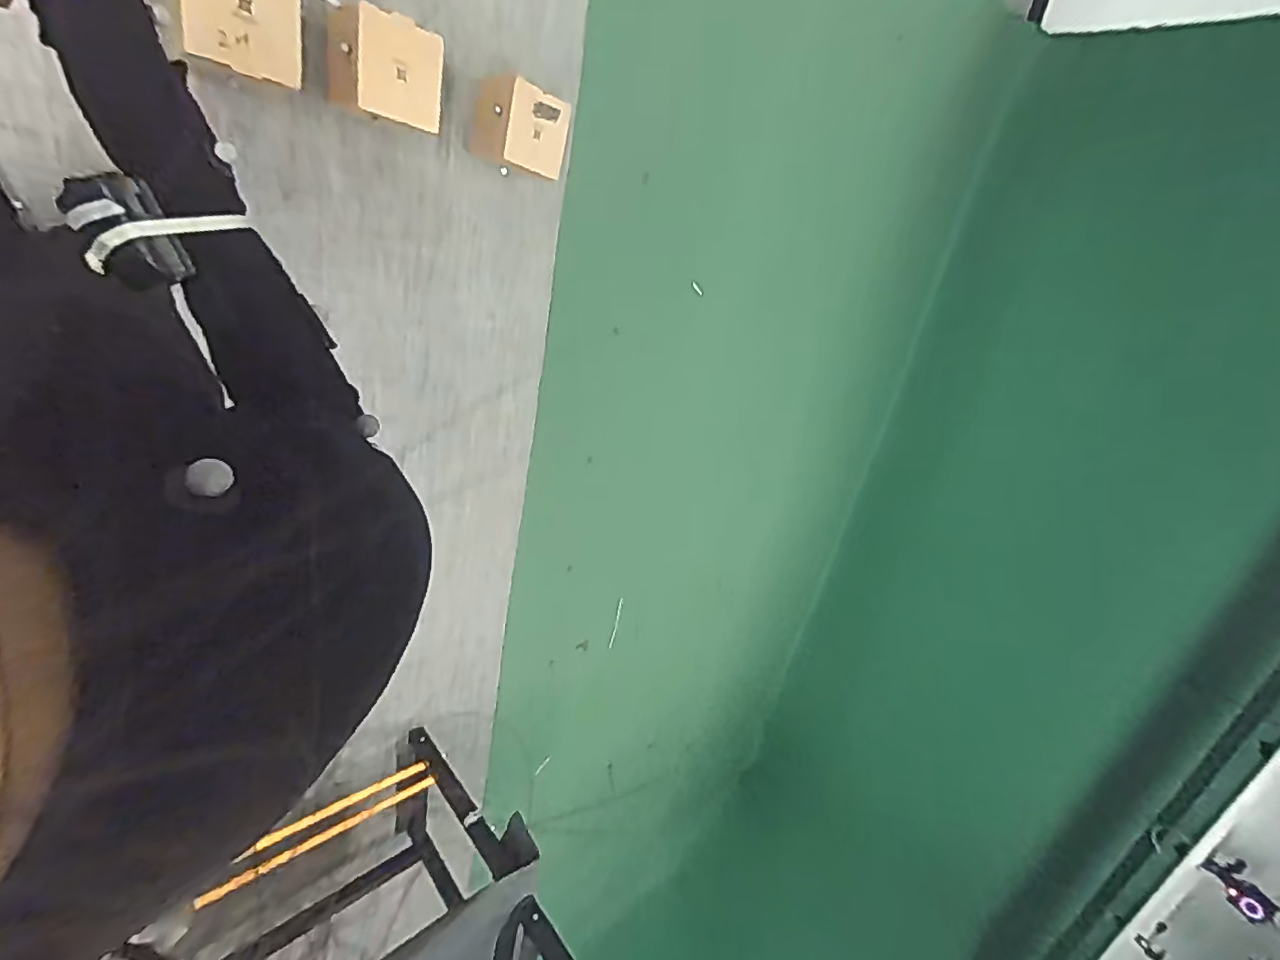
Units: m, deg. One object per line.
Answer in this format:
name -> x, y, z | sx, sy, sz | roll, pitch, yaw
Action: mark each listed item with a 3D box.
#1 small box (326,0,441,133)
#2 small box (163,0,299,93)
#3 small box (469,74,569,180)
small box -> -0.532, -0.840, 1.116 | 0.168, 0.176, 0.179 | -11, 121, -45
small box -> -0.708, -0.803, 0.935 | 0.168, 0.176, 0.179 | -9, 120, -45
small box -> -0.306, -0.874, 1.349 | 0.168, 0.176, 0.179 | -6, 118, -46
